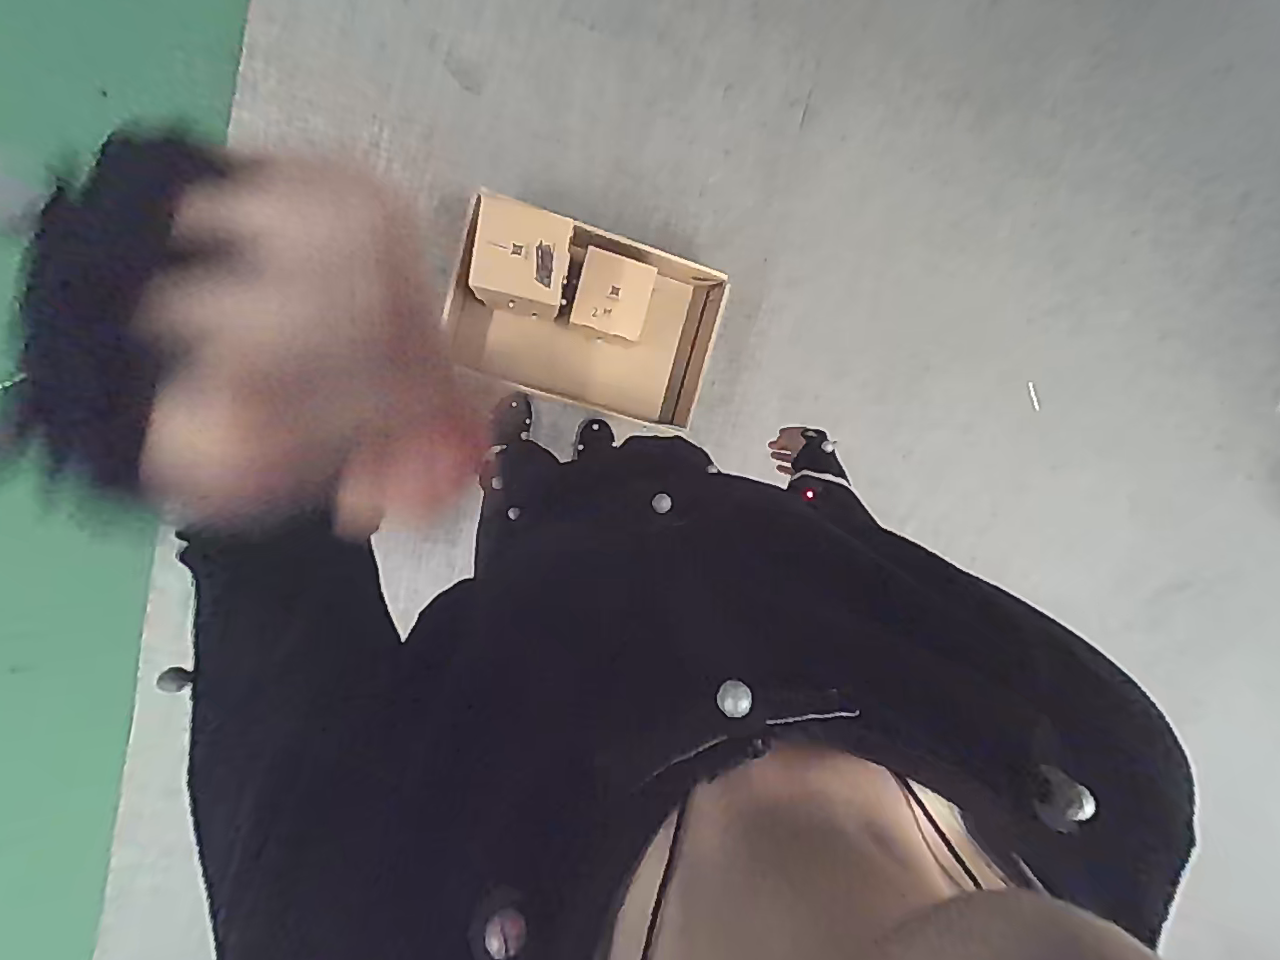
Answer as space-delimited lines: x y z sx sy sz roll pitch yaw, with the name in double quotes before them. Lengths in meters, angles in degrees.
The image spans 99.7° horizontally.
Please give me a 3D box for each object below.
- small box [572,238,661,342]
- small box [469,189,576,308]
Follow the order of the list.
"small box" -0.064 -0.445 1.294 0.168 0.176 0.179 15 97 -9
"small box" -0.234 -0.457 1.098 0.179 0.176 0.168 11 98 -10
